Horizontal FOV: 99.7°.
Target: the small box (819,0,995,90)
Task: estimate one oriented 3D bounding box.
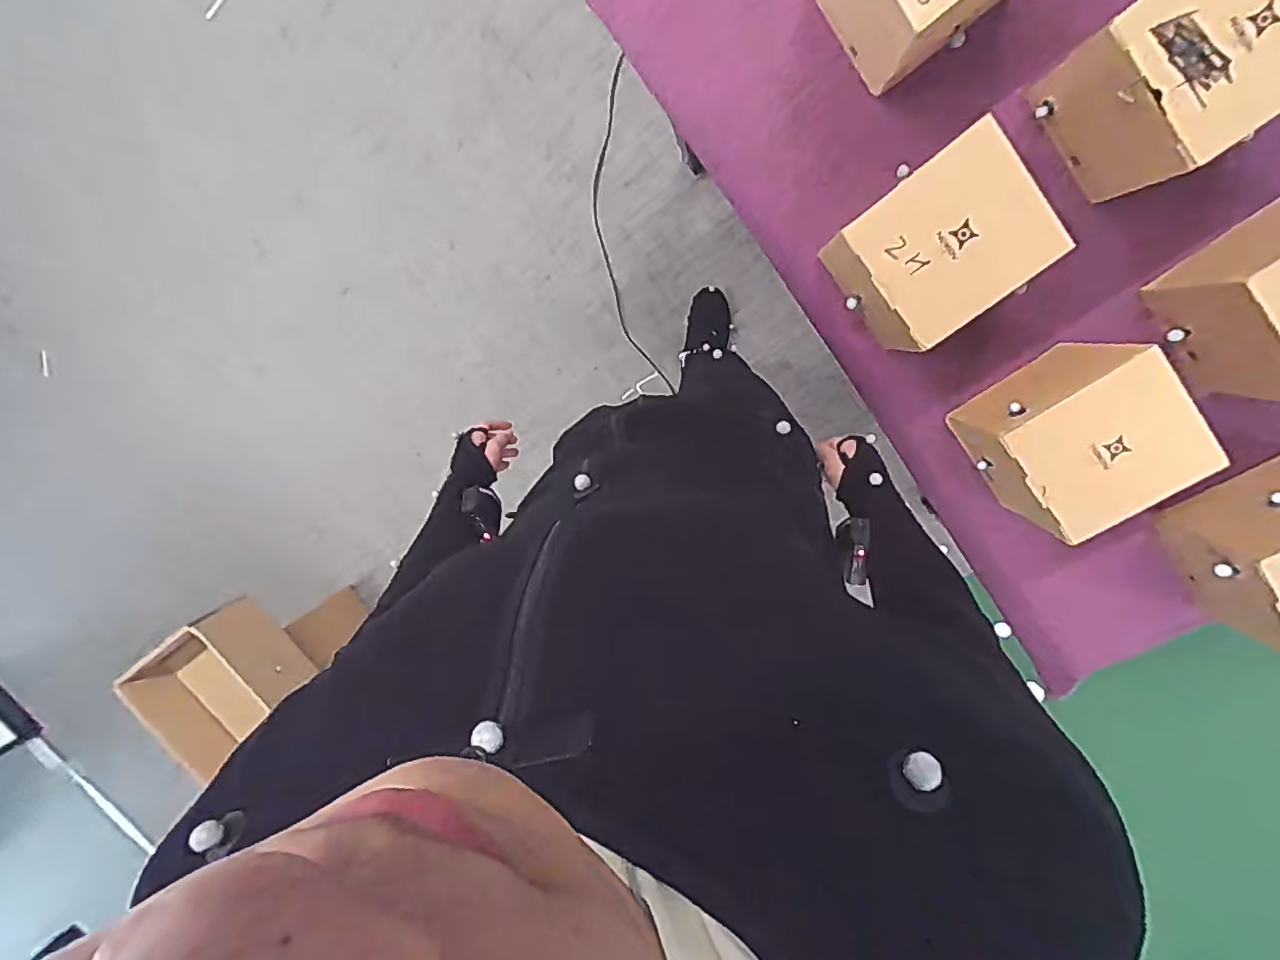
[{"bbox_3d":[0.308,-0.576,0.575,0.179,0.176,0.168,-34,97,17],"label":"small box"}]

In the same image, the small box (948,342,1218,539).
[{"bbox_3d":[0.540,-0.061,0.689,0.179,0.176,0.168,-35,98,17],"label":"small box"}]

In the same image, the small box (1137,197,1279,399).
[{"bbox_3d":[0.740,-0.214,0.611,0.179,0.176,0.168,-36,96,19],"label":"small box"}]

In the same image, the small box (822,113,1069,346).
[{"bbox_3d":[0.348,-0.283,0.655,0.179,0.176,0.168,-36,97,17],"label":"small box"}]

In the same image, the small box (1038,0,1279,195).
[{"bbox_3d":[0.571,-0.440,0.572,0.179,0.176,0.168,-36,98,17],"label":"small box"}]
